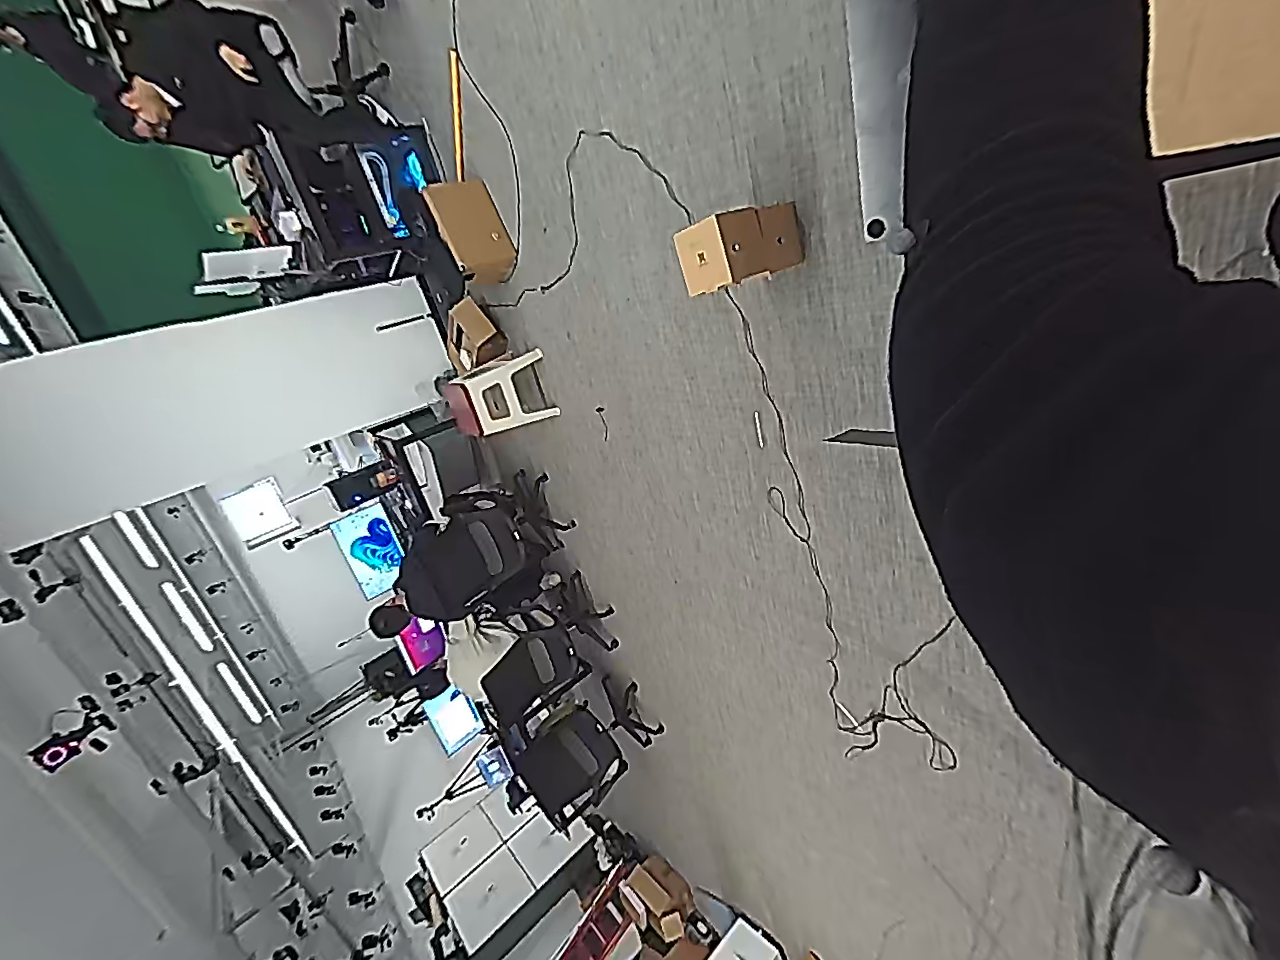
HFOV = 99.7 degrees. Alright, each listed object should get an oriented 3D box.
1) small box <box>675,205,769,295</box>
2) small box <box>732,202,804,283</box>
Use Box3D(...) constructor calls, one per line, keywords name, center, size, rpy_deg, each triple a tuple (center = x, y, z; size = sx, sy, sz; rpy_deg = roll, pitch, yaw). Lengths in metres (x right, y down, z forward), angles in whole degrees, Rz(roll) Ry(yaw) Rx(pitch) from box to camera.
Box3D(name="small box", center=(0.231, -0.634, 1.491), size=(0.168, 0.176, 0.179), rpy_deg=(2, 116, 53))
Box3D(name="small box", center=(0.353, -0.696, 1.580), size=(0.168, 0.176, 0.179), rpy_deg=(6, 120, 52))
